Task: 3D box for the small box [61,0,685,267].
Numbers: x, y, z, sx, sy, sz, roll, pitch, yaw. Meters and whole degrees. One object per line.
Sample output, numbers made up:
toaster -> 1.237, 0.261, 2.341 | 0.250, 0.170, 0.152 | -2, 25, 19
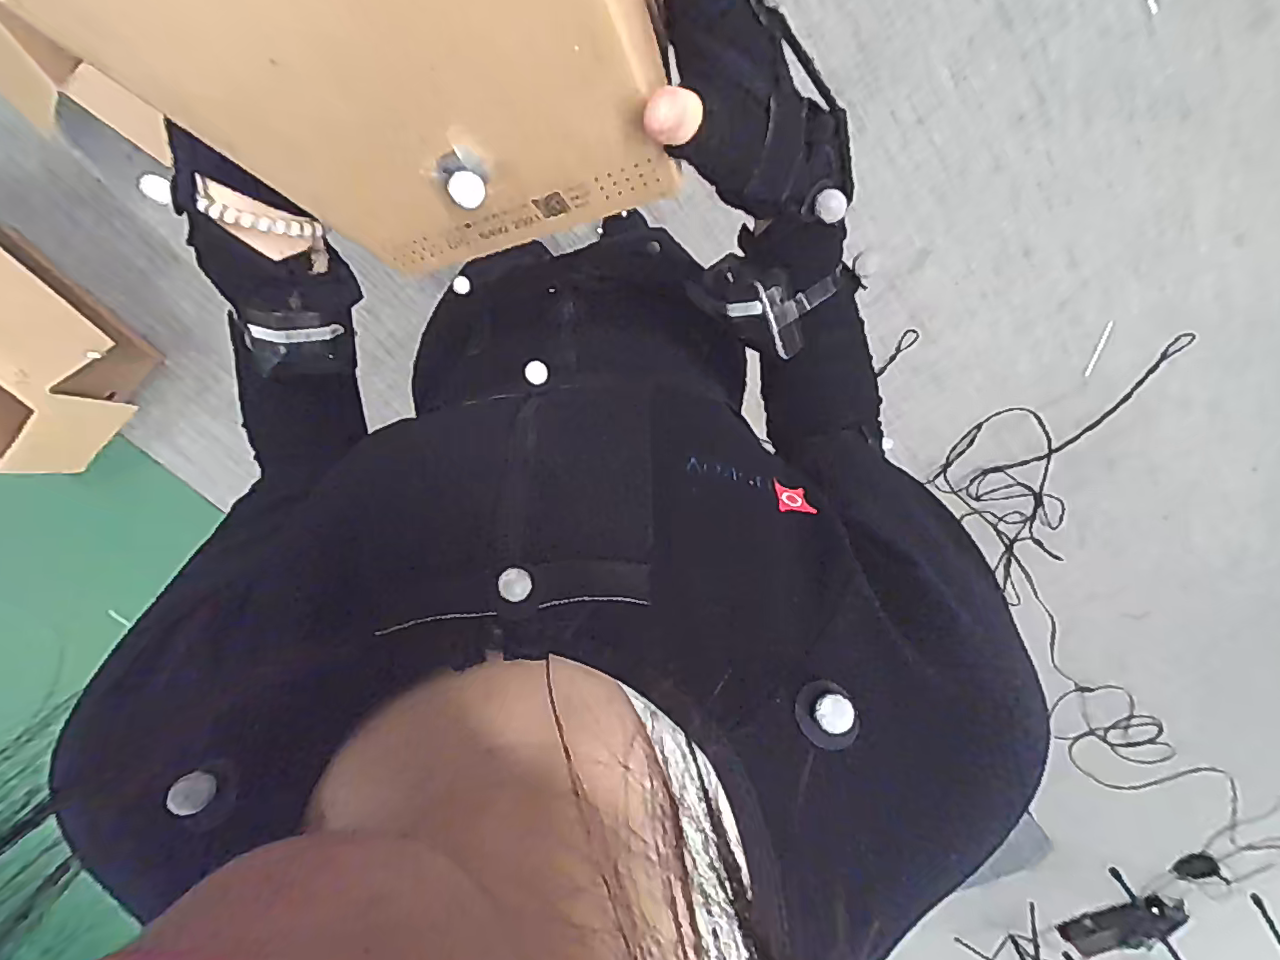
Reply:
small box -> -0.085, -0.223, 0.220 | 0.168, 0.176, 0.179 | -9, 80, 17
